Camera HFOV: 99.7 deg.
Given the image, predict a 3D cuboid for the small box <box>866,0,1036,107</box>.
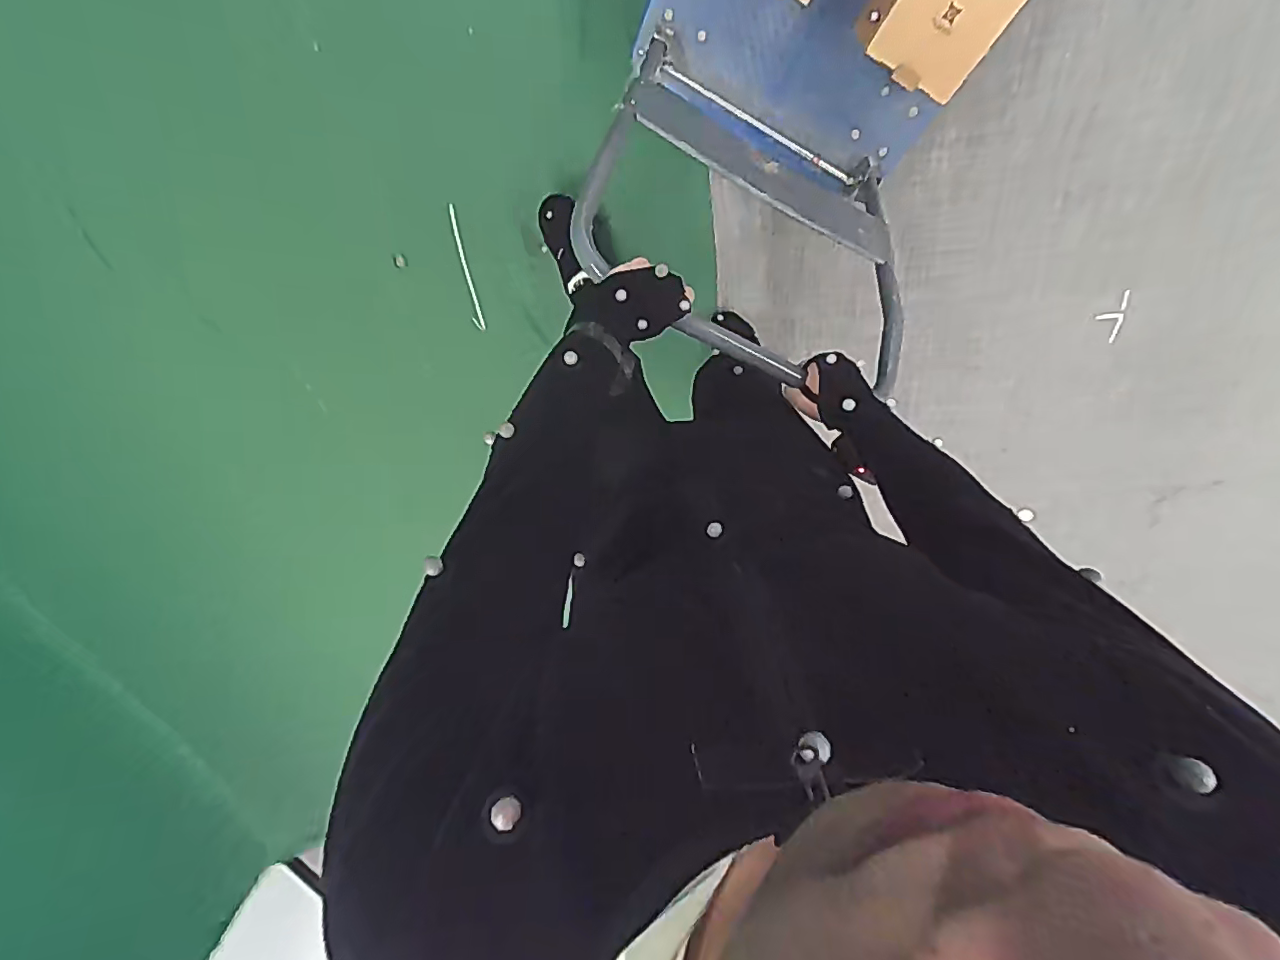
[{"bbox_3d":[0.483,-0.750,0.857,0.168,0.176,0.179,23,140,-14],"label":"small box"}]
